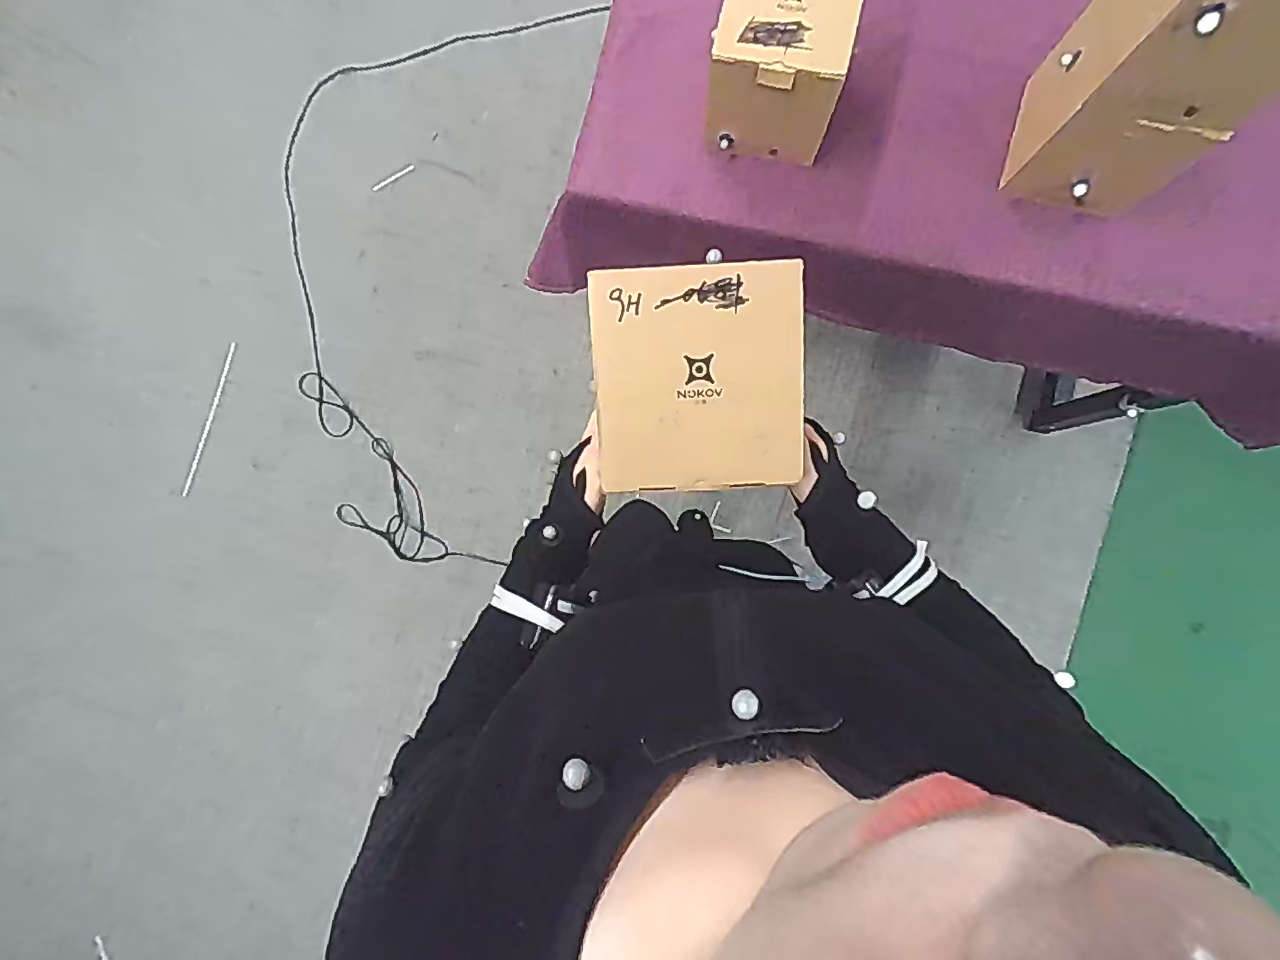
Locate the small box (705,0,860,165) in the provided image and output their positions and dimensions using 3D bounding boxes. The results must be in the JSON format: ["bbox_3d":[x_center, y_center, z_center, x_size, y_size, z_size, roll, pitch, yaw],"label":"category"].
[{"bbox_3d":[0.186,-0.566,0.731,0.168,0.176,0.179,13,86,4],"label":"small box"}]

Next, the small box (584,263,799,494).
[{"bbox_3d":[0.043,-0.092,0.504,0.168,0.176,0.179,-3,101,1],"label":"small box"}]

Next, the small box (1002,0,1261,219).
[{"bbox_3d":[0.609,-0.476,0.695,0.168,0.176,0.179,16,88,6],"label":"small box"}]
